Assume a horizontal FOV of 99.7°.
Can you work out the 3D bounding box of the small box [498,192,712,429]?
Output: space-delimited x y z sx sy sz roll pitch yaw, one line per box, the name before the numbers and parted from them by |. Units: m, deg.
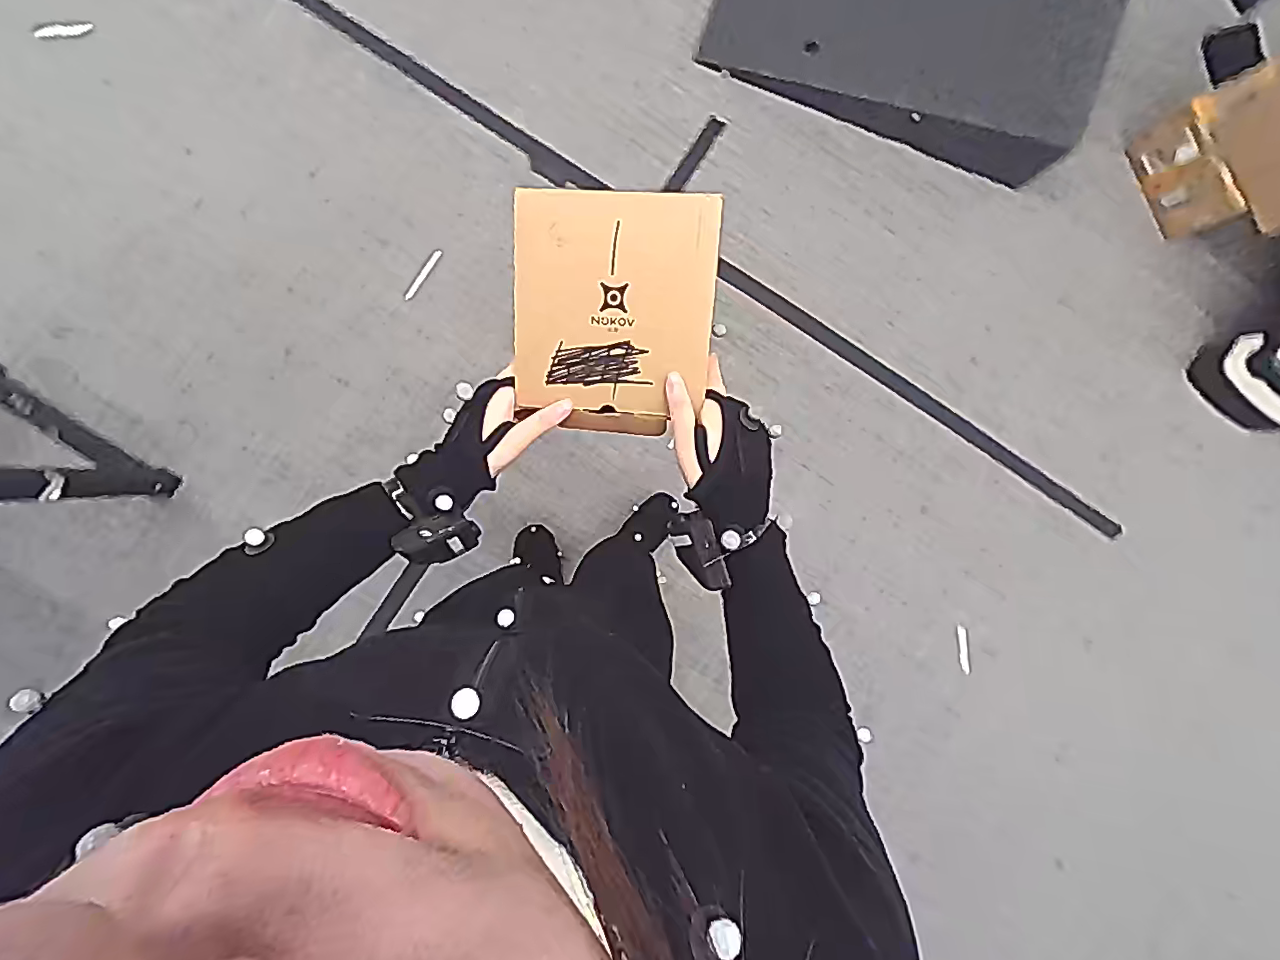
small box | -0.021 -0.152 0.503 0.168 0.176 0.179 4 105 6
